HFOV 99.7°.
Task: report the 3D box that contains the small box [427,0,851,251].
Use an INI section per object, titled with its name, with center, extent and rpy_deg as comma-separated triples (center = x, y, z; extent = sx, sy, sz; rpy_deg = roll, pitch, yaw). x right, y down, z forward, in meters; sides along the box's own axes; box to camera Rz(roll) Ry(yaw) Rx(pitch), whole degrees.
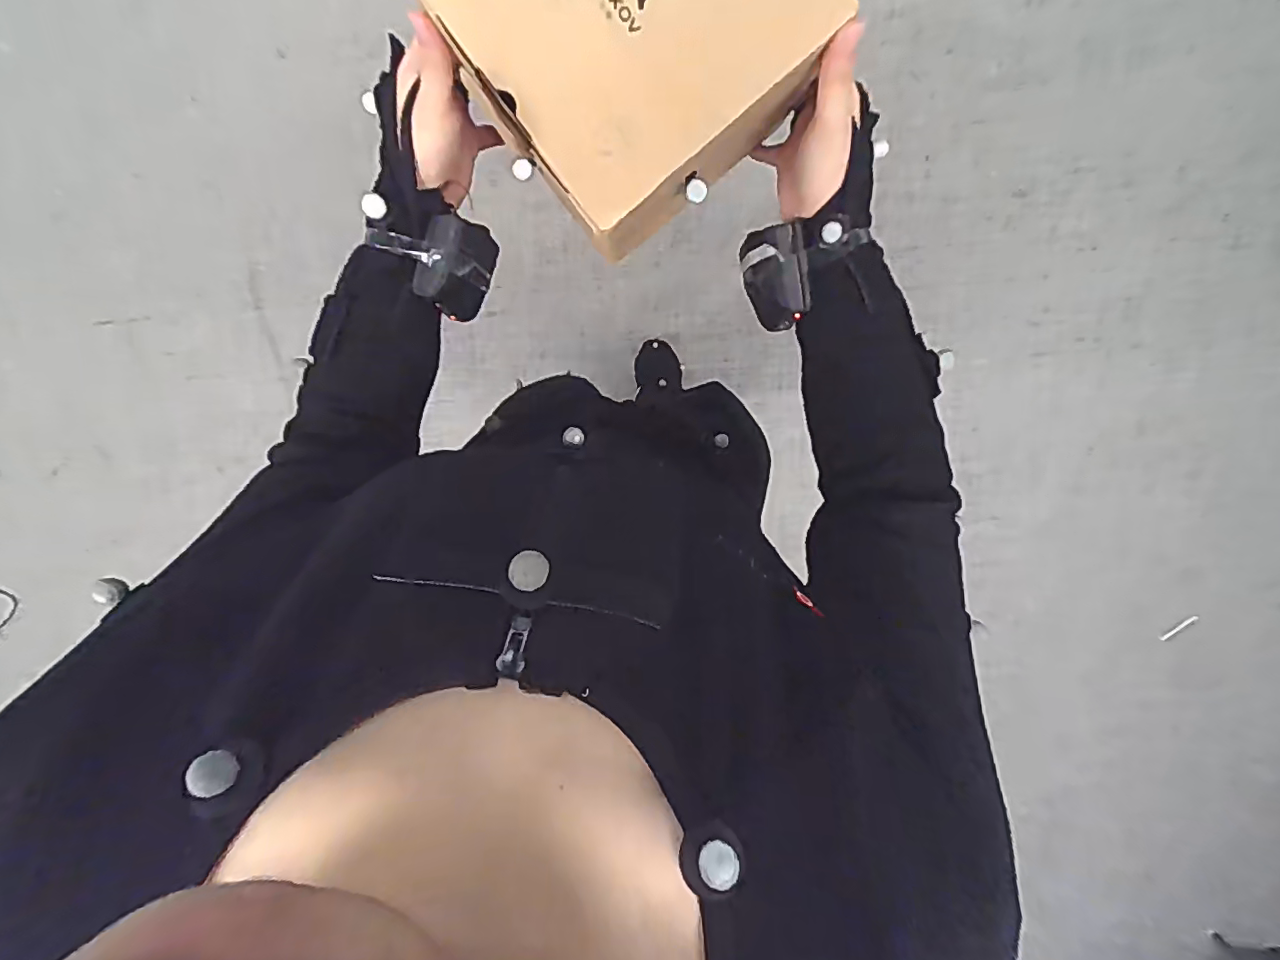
[small box]
center = -0.003, -0.278, 0.358
extent = 0.179, 0.176, 0.168
rpy_deg = -37, 103, 10
